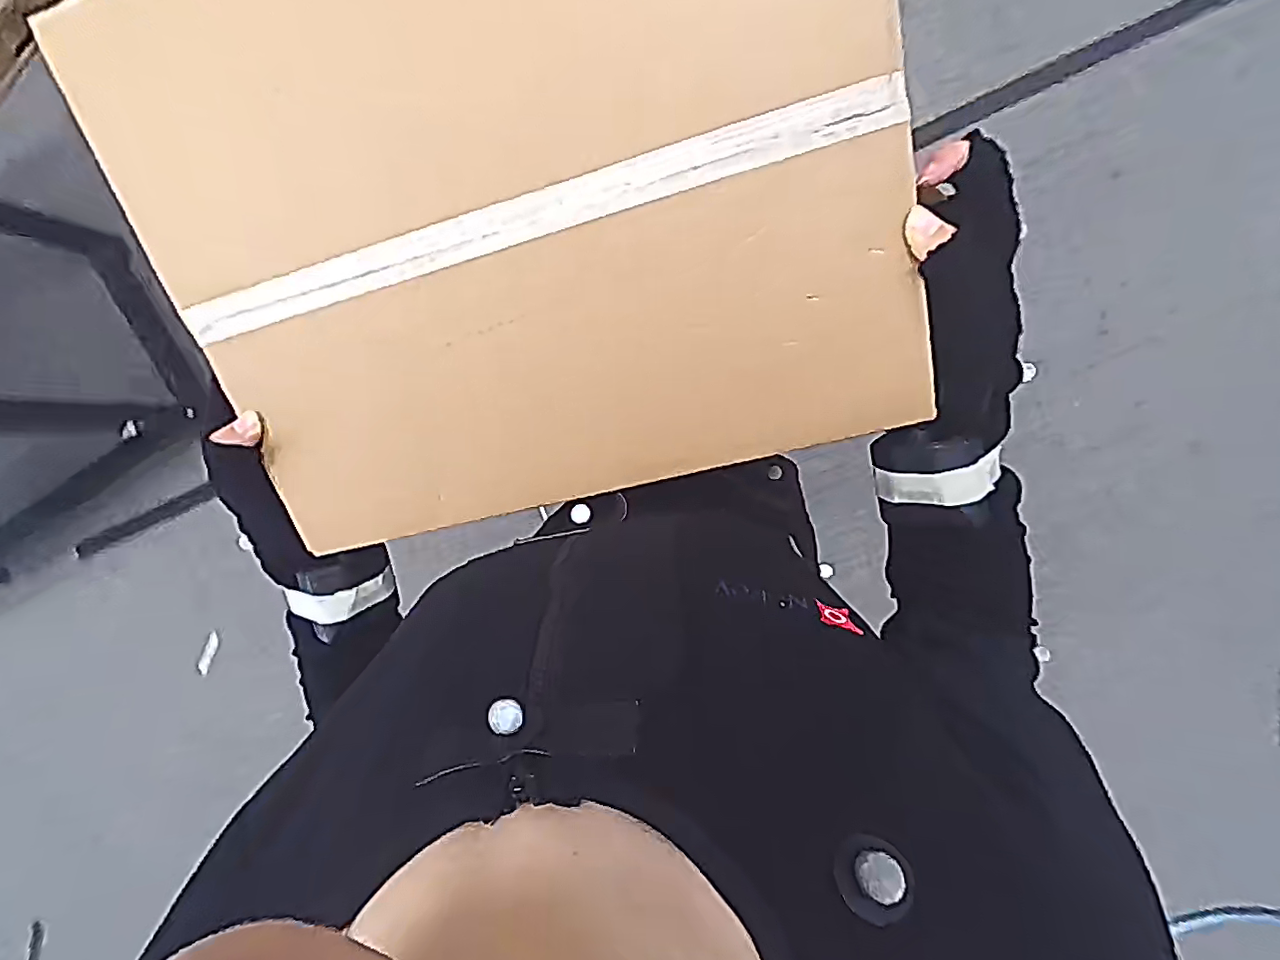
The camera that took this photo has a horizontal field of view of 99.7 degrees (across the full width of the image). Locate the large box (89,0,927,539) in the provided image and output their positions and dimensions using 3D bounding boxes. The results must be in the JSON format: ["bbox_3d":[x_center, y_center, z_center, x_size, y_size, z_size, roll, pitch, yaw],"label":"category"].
[{"bbox_3d":[-0.052,-0.190,0.435,0.408,0.320,0.320,-12,110,10],"label":"large box"}]
